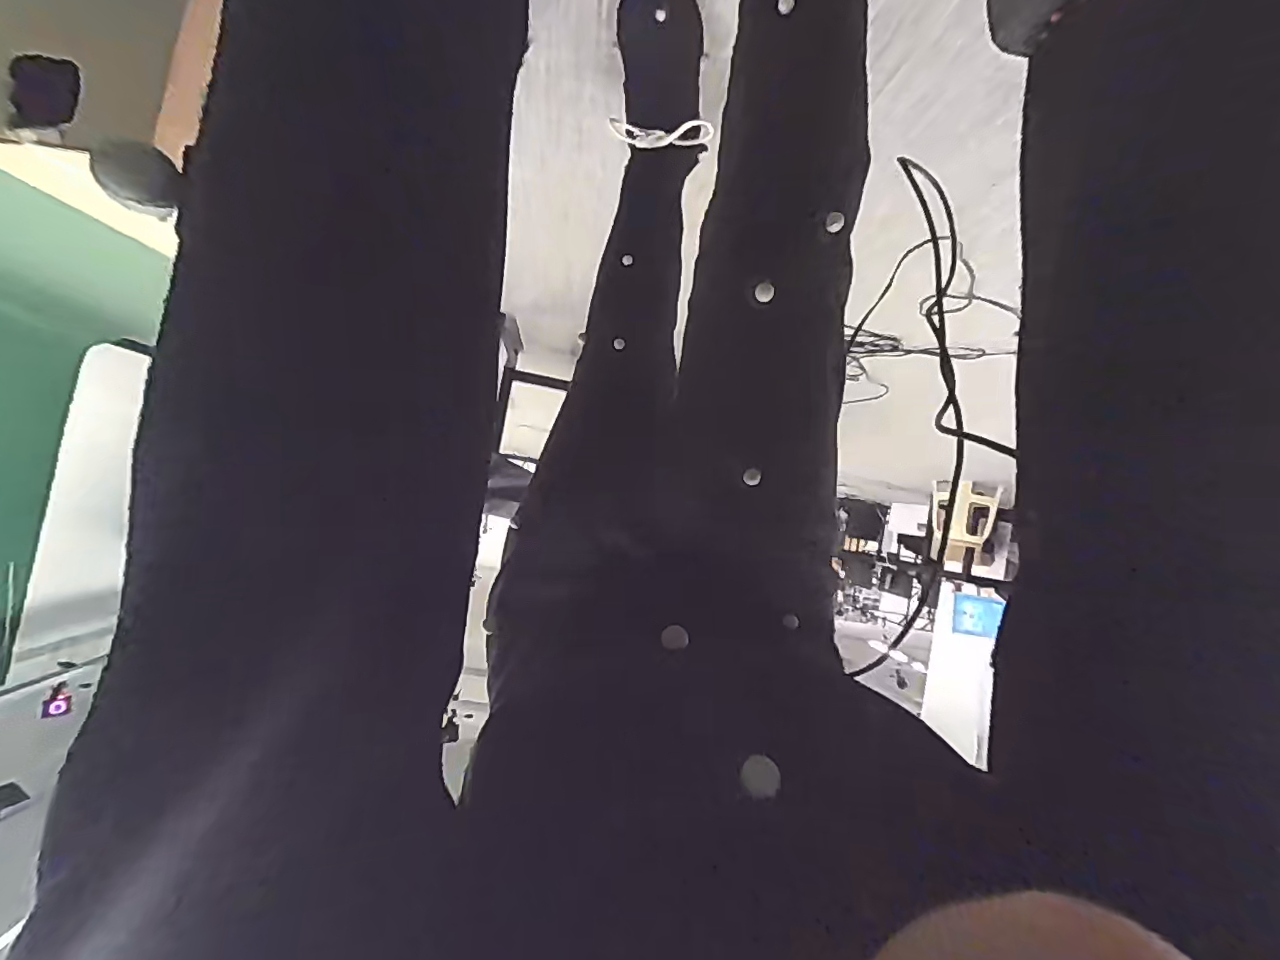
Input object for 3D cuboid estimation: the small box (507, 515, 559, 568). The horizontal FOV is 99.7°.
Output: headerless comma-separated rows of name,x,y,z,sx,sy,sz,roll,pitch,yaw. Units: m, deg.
small box,-0.414,0.237,2.108,0.179,0.176,0.168,11,177,-10
